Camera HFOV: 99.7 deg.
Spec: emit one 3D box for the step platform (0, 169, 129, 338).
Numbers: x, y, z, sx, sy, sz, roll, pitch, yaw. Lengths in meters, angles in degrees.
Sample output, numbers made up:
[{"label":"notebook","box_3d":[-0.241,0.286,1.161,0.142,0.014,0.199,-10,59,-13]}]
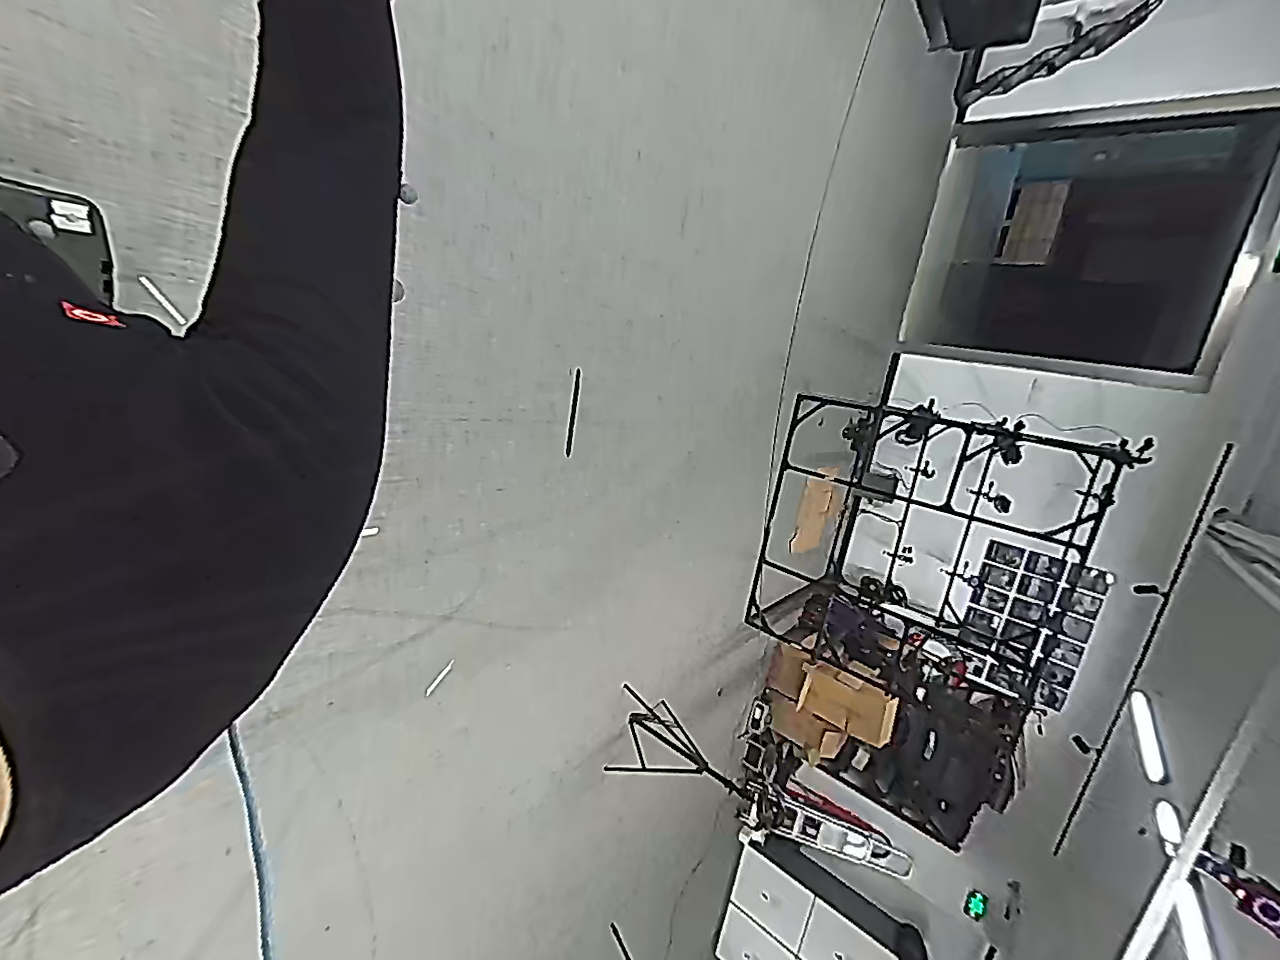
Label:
[{"label":"step platform","box_3d":[-1.290,-0.411,0.868,0.684,0.204,0.286,-9,113,-53]}]
